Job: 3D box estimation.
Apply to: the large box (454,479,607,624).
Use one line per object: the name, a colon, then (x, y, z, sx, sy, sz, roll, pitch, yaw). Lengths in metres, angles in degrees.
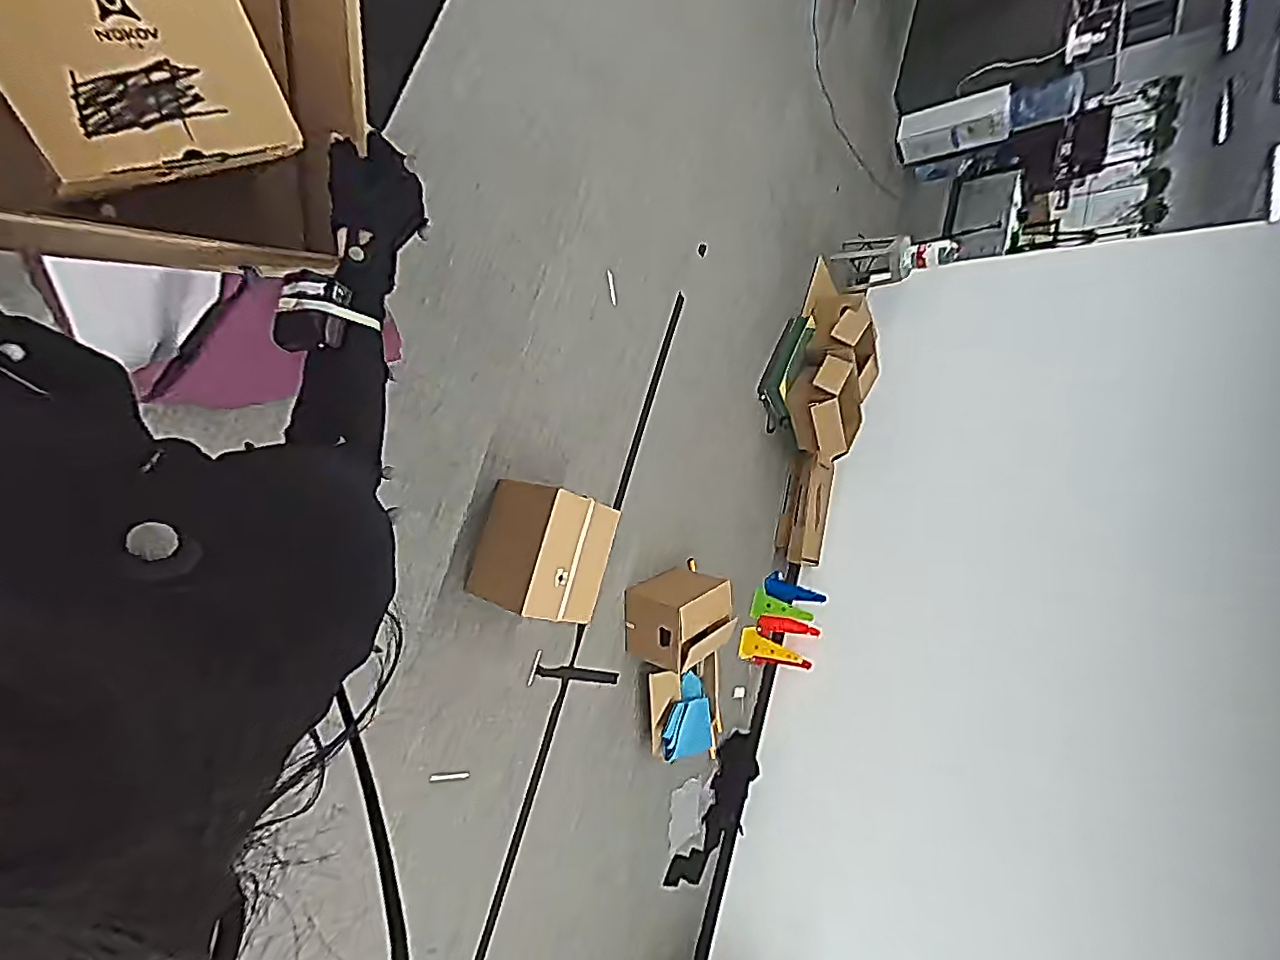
large box: (-0.367, 0.238, 1.830, 0.320, 0.320, 0.408, 26, 76, -50)
